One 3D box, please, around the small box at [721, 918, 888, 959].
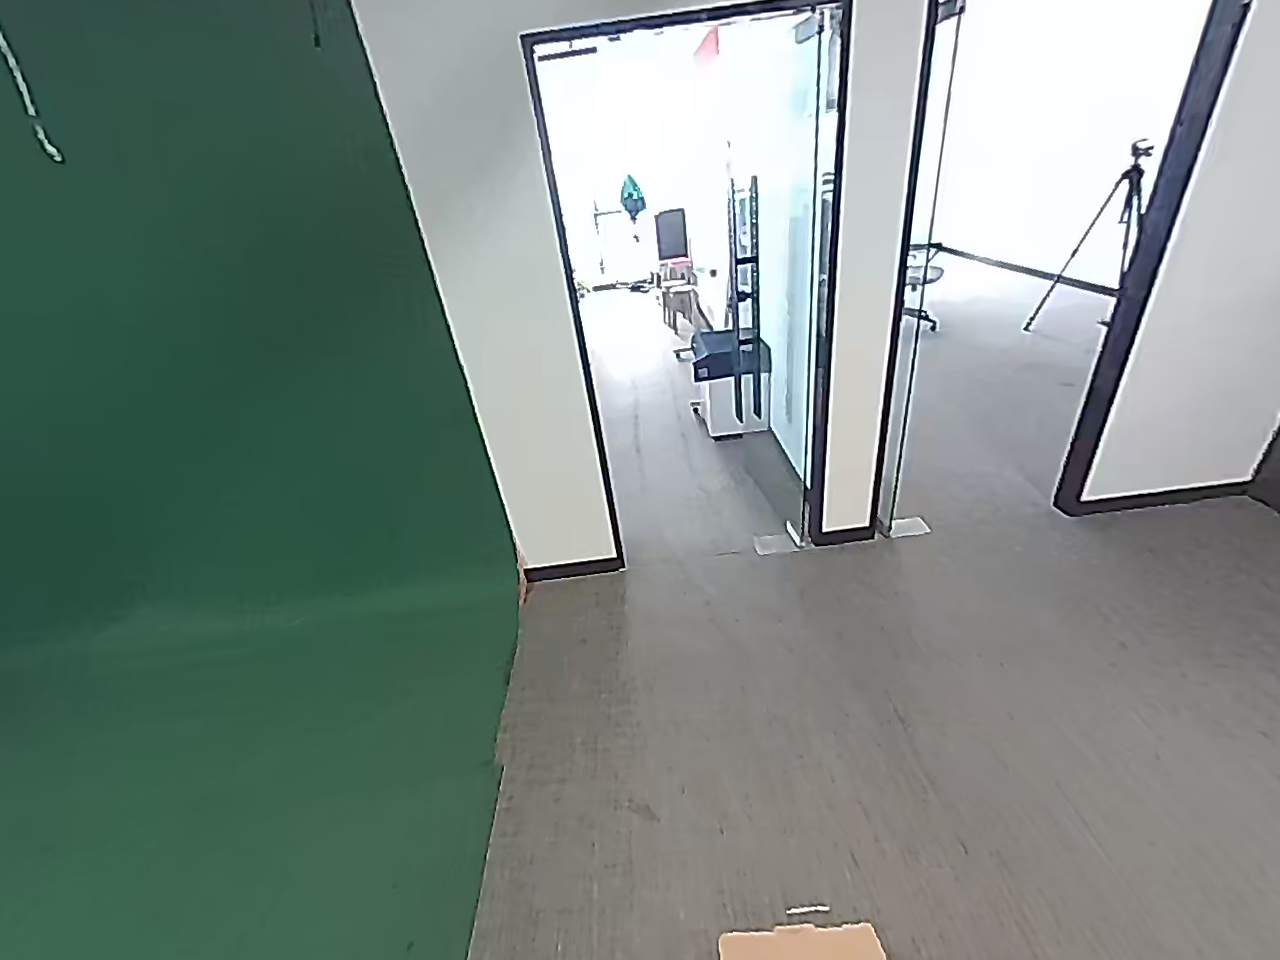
[{"bbox_3d":[0.173,0.566,0.505,0.168,0.176,0.179,-7,4,2],"label":"small box"}]
